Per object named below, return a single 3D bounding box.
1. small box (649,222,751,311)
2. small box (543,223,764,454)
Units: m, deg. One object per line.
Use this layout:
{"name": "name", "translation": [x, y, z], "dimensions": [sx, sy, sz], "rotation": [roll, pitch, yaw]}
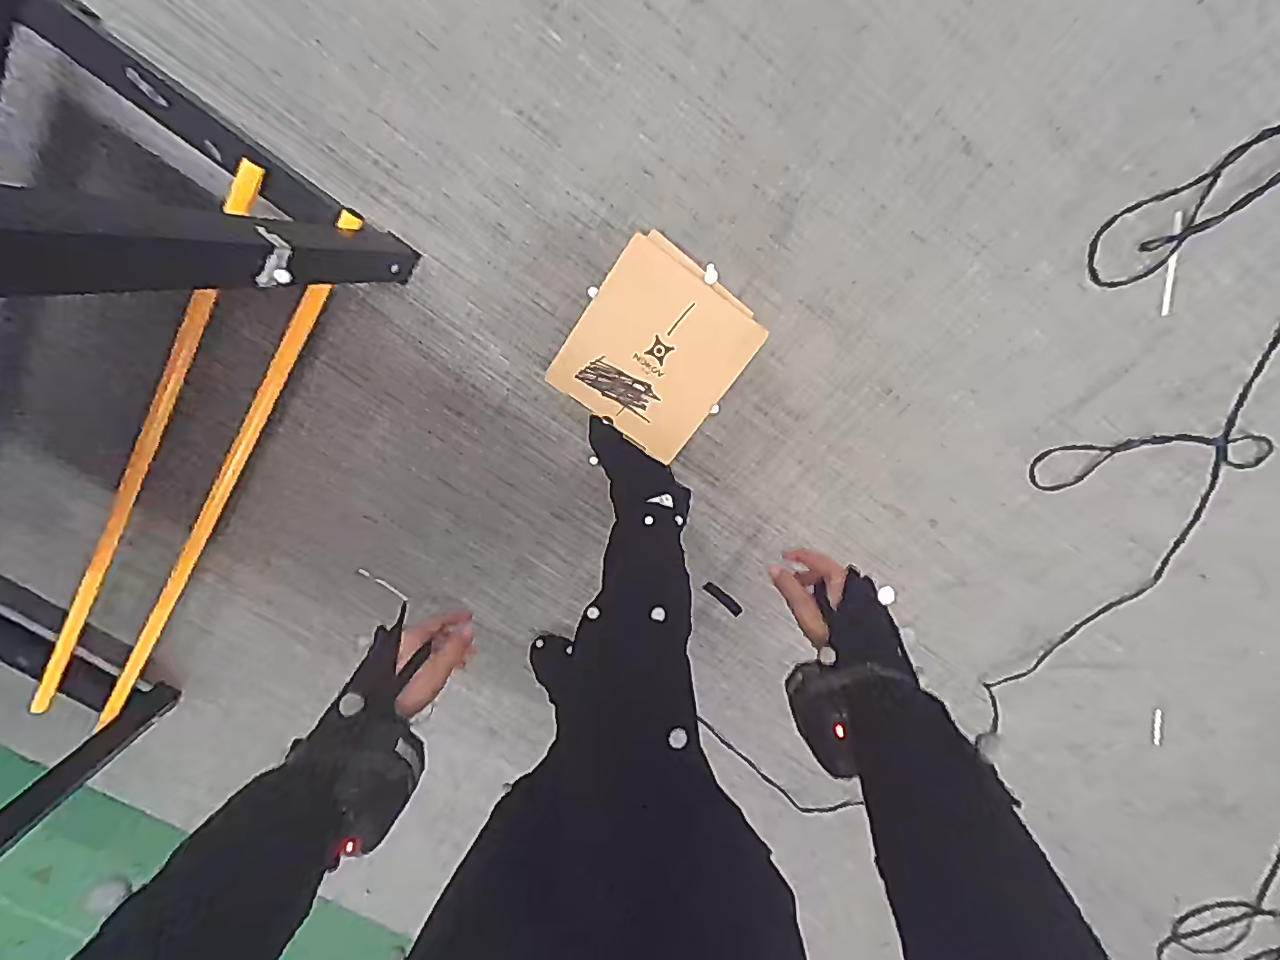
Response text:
{"name": "small box", "translation": [0.031, -0.235, 0.773], "dimensions": [0.168, 0.176, 0.179], "rotation": [37, 108, -10]}
{"name": "small box", "translation": [0.017, -0.164, 0.626], "dimensions": [0.168, 0.176, 0.179], "rotation": [35, 109, -10]}
